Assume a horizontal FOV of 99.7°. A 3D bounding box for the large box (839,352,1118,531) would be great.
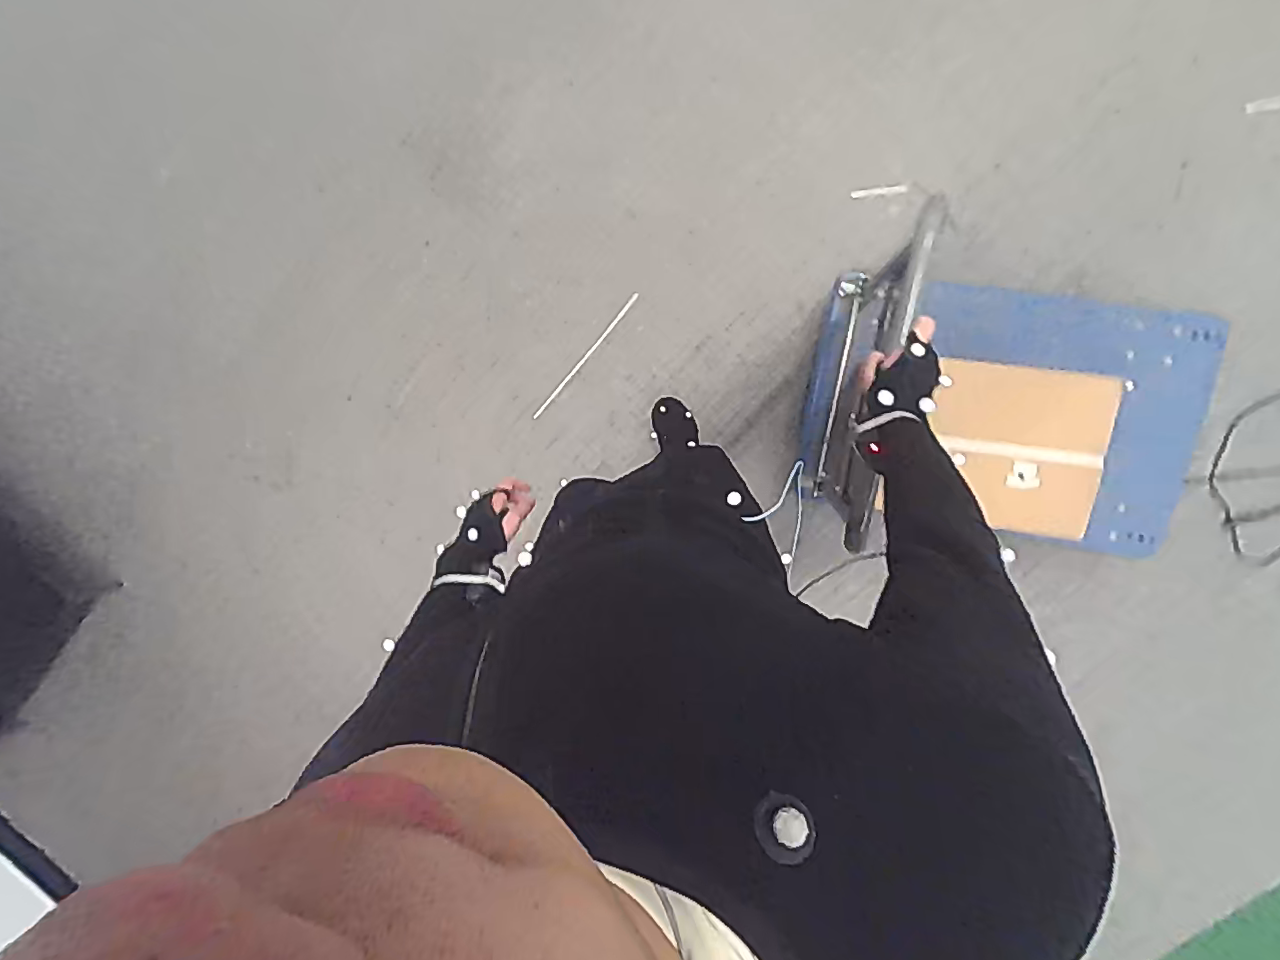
[{"bbox_3d":[0.697,-0.095,1.196,0.408,0.320,0.320,8,100,6],"label":"large box"}]
